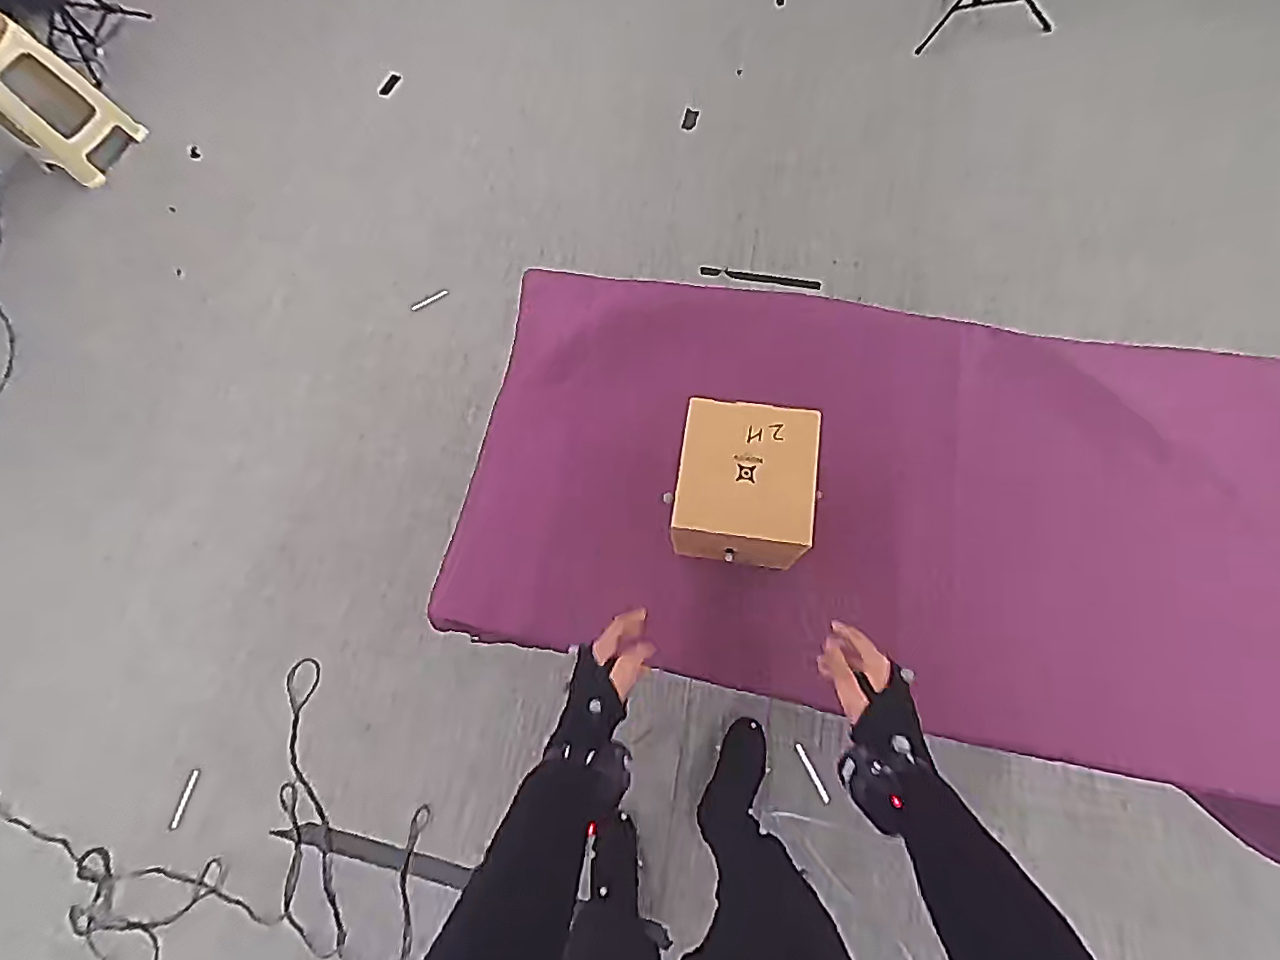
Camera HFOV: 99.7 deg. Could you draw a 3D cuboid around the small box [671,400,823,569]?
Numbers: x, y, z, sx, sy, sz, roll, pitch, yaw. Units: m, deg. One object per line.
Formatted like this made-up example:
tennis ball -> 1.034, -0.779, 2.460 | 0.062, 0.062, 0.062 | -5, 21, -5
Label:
small box -> 0.138, 0.015, 0.726 | 0.168, 0.176, 0.179 | 8, 72, 7
